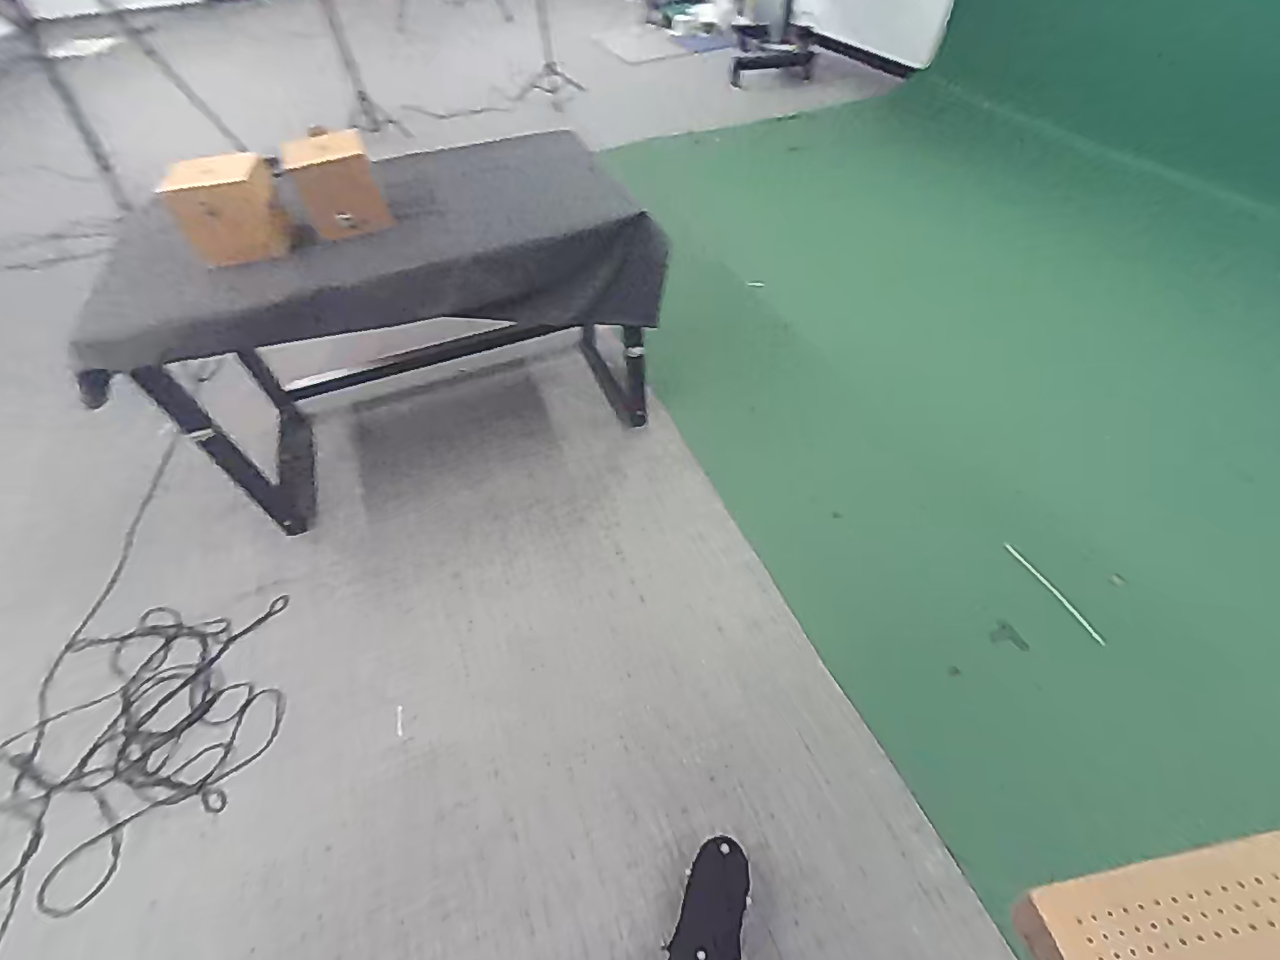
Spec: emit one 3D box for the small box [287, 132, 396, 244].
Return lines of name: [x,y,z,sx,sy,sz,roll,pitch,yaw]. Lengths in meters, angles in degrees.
small box: [-0.697,-0.683,1.268,0.168,0.176,0.179,-22,53,-14]

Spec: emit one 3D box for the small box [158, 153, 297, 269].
small box: [-0.900,-0.596,1.203,0.179,0.176,0.168,-13,51,-8]
